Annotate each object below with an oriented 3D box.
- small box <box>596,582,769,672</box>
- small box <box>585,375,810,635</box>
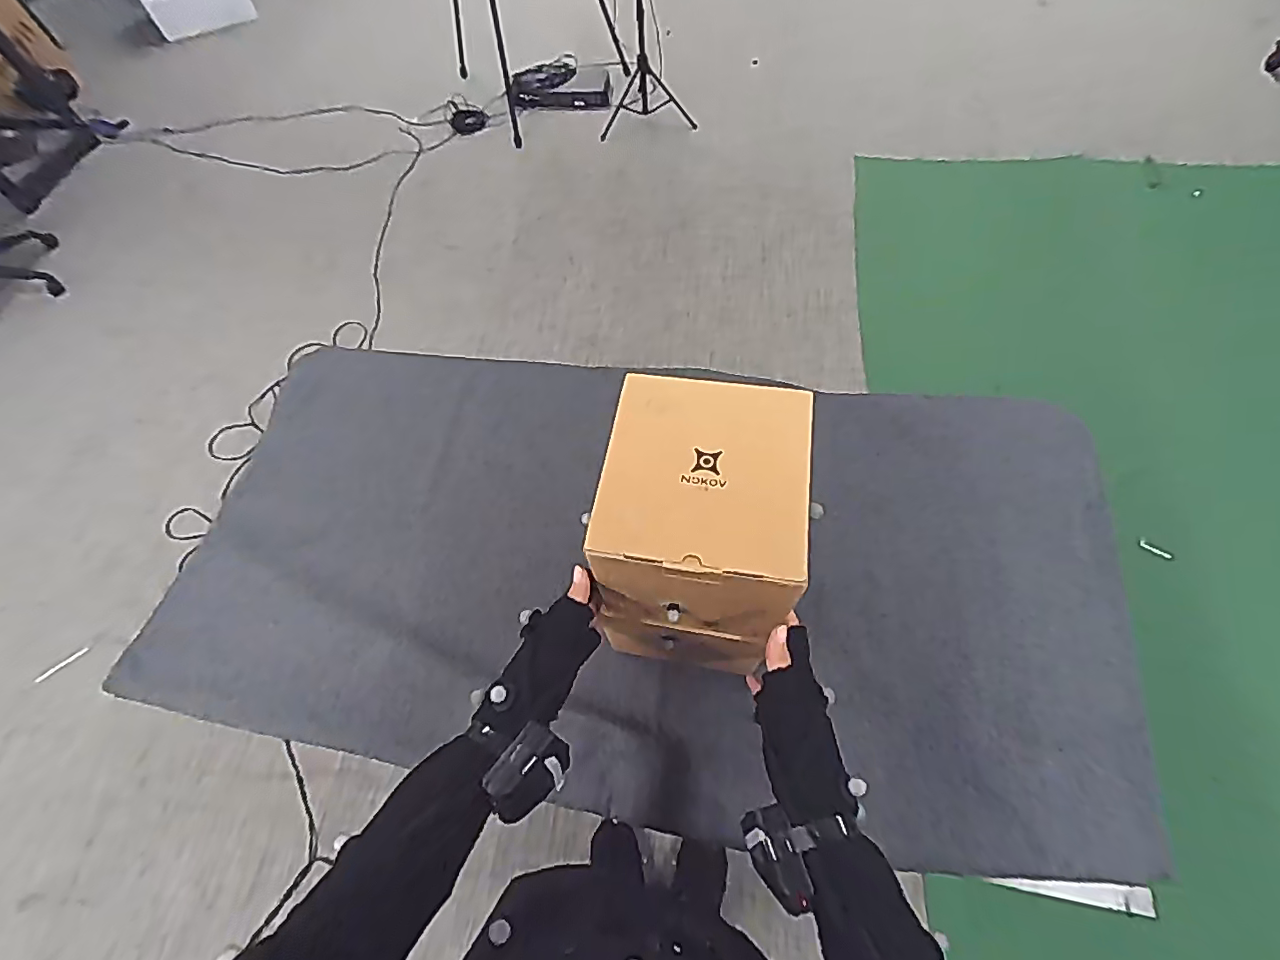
[{"bbox_3d":[0.060,0.119,0.642,0.179,0.176,0.168,8,61,8],"label":"small box"},{"bbox_3d":[0.056,0.030,0.506,0.168,0.176,0.179,7,62,8],"label":"small box"}]
